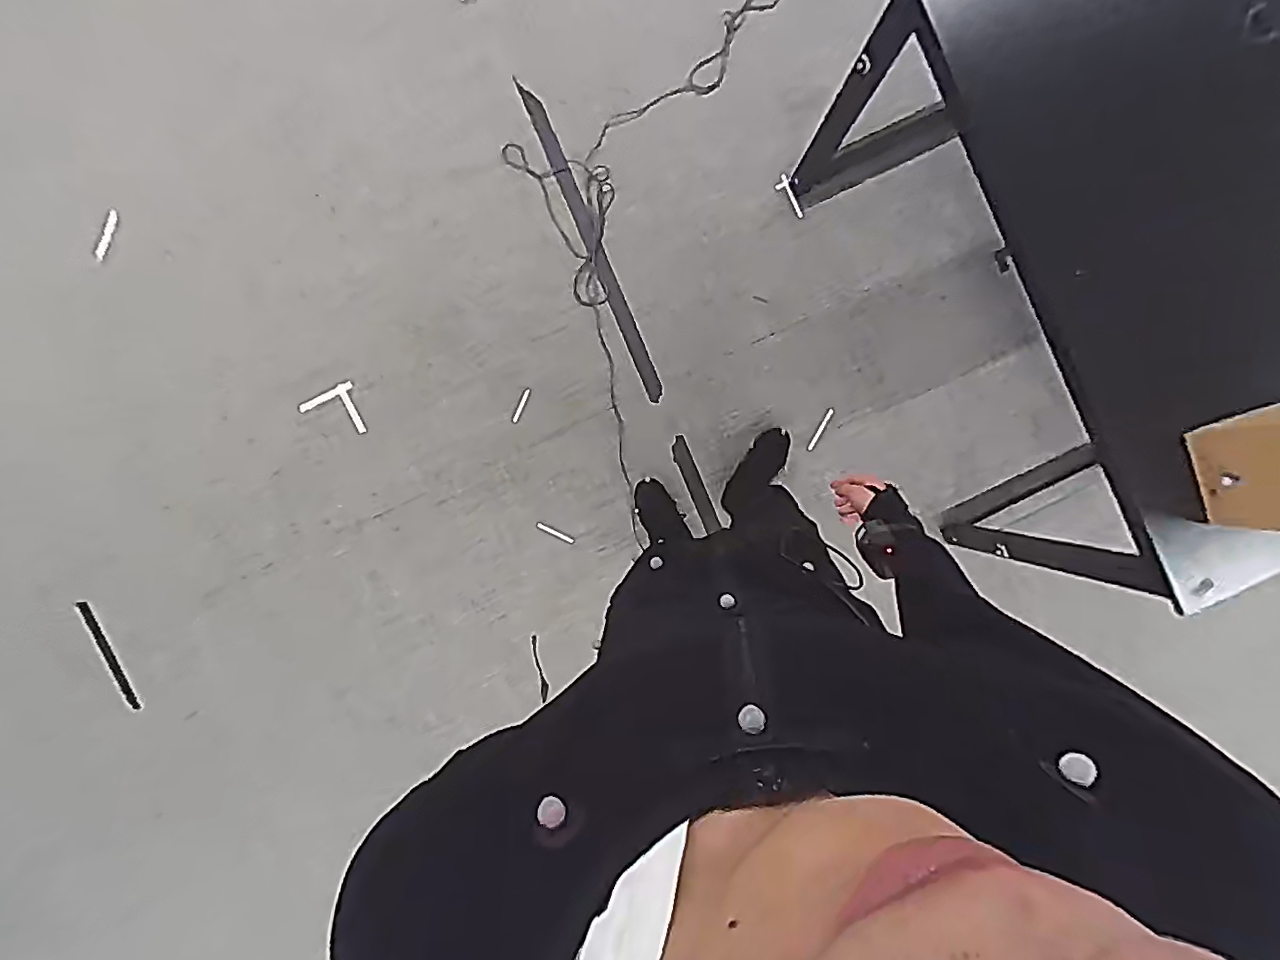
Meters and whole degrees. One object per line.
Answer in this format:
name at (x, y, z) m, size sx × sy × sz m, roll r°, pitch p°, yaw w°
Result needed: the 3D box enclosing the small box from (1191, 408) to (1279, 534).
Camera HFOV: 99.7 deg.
small box at (1.020, -0.020, 0.824) m, size 0.179 × 0.176 × 0.168 m, roll -17°, pitch 91°, yaw 0°
